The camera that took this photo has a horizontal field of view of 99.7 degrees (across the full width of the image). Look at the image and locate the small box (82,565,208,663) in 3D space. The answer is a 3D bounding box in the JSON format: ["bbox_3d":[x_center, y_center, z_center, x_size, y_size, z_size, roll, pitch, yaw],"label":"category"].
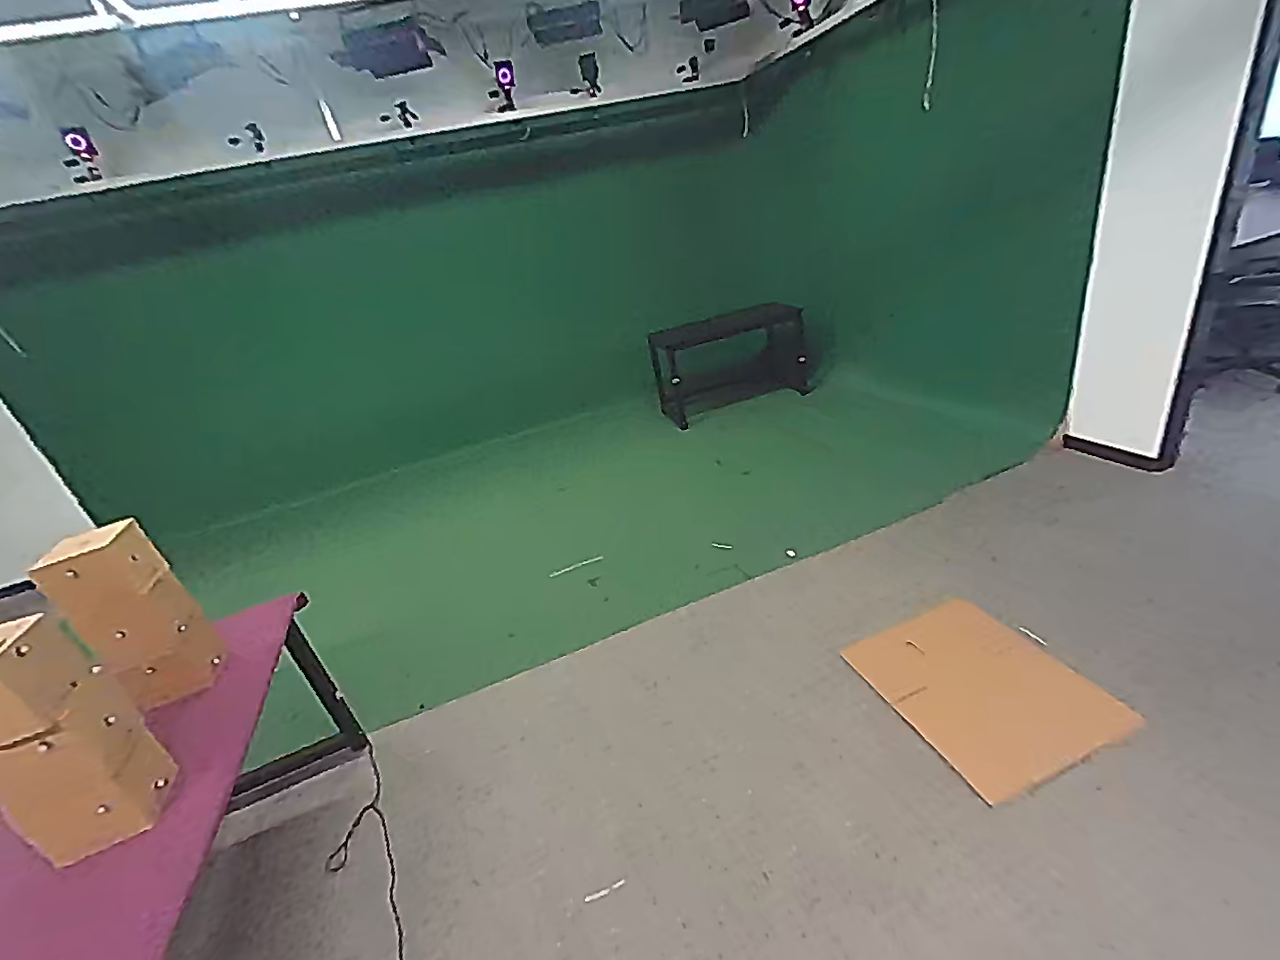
[{"bbox_3d":[-1.364,0.374,1.509,0.179,0.176,0.168,-21,28,-11],"label":"small box"}]

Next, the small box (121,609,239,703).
[{"bbox_3d":[-1.334,0.517,1.583,0.179,0.176,0.168,-19,28,-11],"label":"small box"}]

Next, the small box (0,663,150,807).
[{"bbox_3d":[-1.181,0.524,1.119,0.179,0.176,0.168,-20,26,-15],"label":"small box"}]

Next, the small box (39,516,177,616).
[{"bbox_3d":[-1.403,0.229,1.446,0.179,0.176,0.168,-21,29,-13],"label":"small box"}]

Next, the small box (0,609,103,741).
[{"bbox_3d":[-1.212,0.386,1.033,0.179,0.176,0.168,-19,27,-12],"label":"small box"}]
